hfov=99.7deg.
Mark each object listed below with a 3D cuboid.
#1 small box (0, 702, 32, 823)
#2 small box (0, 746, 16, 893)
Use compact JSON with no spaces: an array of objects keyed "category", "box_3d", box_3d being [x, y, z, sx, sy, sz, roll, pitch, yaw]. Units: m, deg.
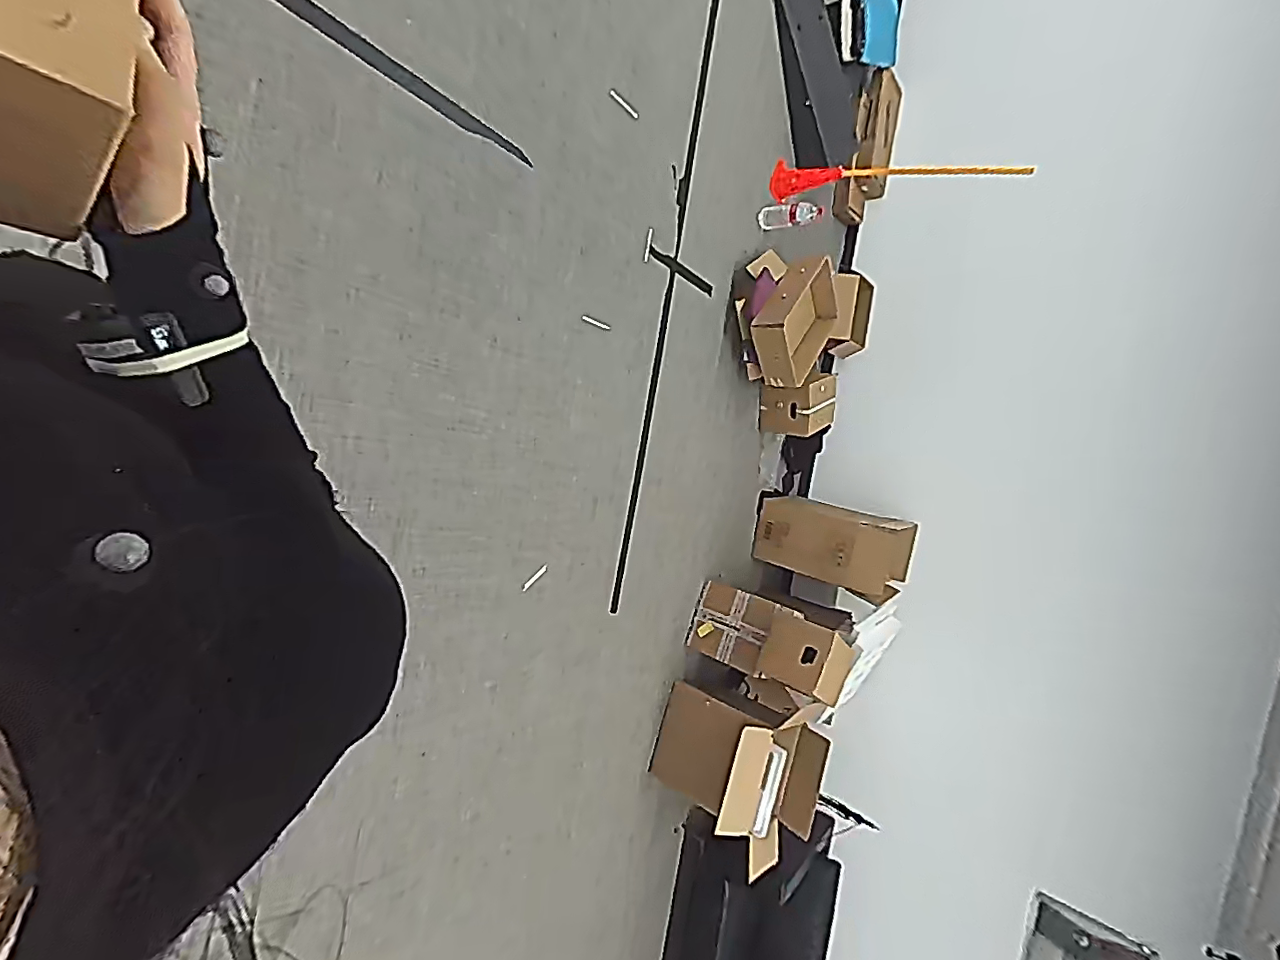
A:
[{"category":"small box","box_3d":[-1.203,0.517,0.940,0.179,0.176,0.168,-5,103,-52]},{"category":"small box","box_3d":[-1.089,0.544,0.820,0.179,0.176,0.168,1,100,-52]}]
